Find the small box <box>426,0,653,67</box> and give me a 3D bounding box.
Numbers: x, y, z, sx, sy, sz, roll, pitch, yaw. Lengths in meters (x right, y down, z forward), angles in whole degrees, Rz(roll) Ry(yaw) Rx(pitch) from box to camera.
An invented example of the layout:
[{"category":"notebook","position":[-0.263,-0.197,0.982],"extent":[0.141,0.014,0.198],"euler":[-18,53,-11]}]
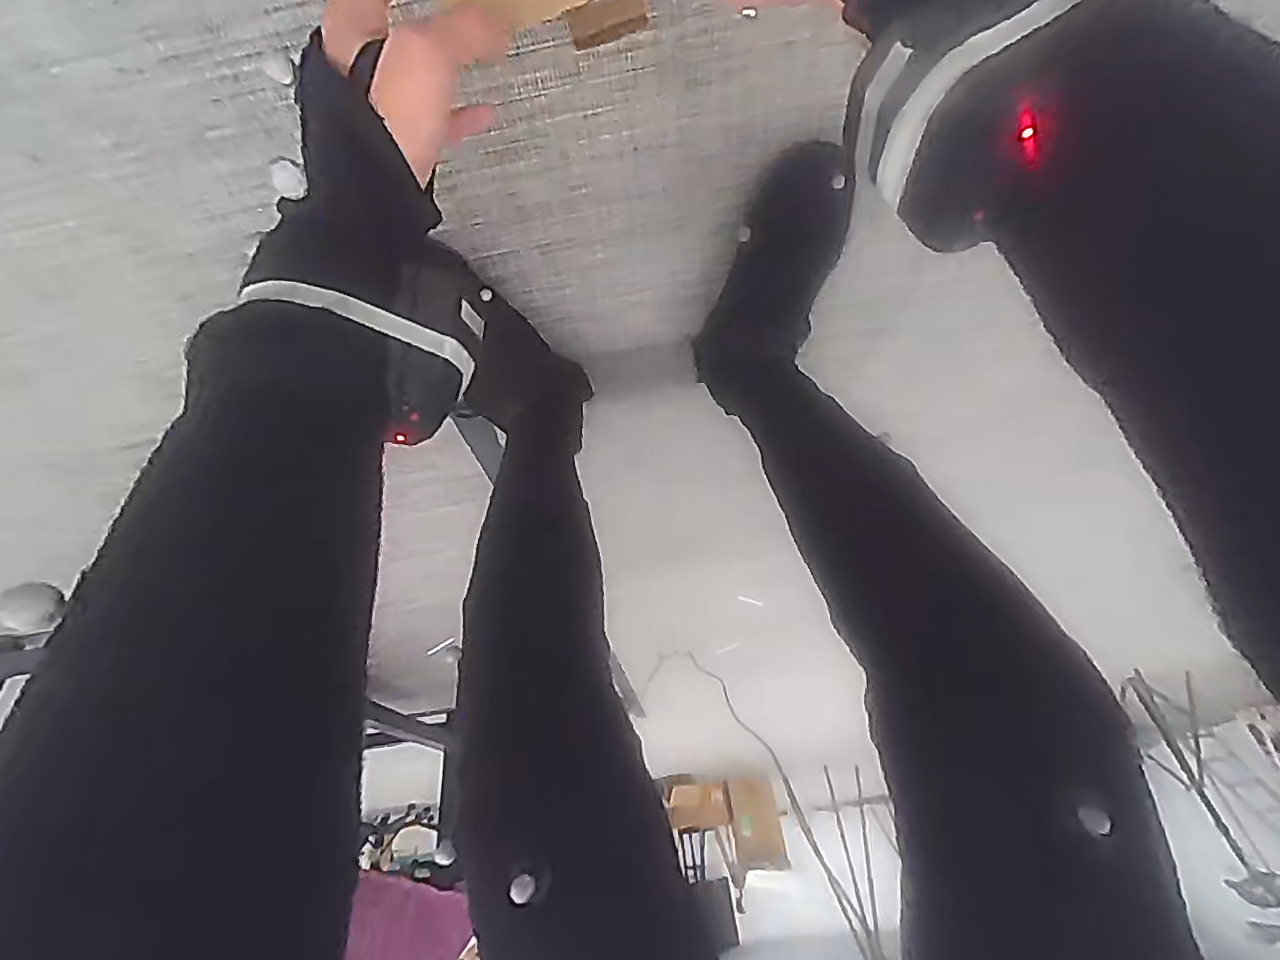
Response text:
[{"category":"small box","position":[-0.055,-0.360,0.269],"extent":[0.168,0.176,0.179],"euler":[-14,145,8]}]
